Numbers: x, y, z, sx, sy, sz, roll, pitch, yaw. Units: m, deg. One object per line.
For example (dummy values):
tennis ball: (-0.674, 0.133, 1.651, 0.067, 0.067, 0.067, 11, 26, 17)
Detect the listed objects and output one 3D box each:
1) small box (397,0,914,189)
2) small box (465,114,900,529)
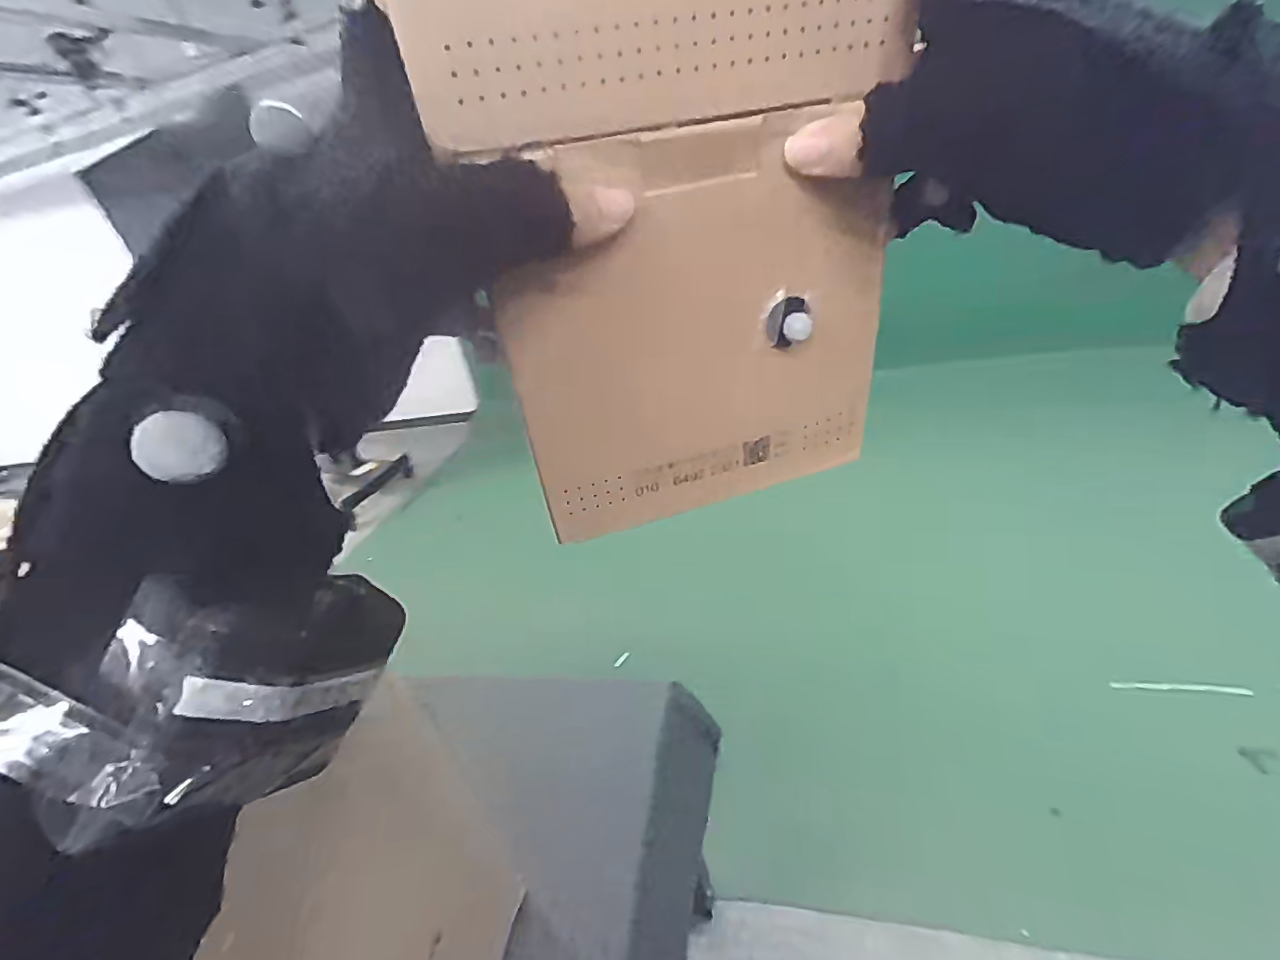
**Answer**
small box: (-0.008, -0.221, 0.203, 0.179, 0.176, 0.168, -16, 38, -13)
small box: (0.009, -0.091, 0.301, 0.168, 0.176, 0.179, -15, 36, -9)
